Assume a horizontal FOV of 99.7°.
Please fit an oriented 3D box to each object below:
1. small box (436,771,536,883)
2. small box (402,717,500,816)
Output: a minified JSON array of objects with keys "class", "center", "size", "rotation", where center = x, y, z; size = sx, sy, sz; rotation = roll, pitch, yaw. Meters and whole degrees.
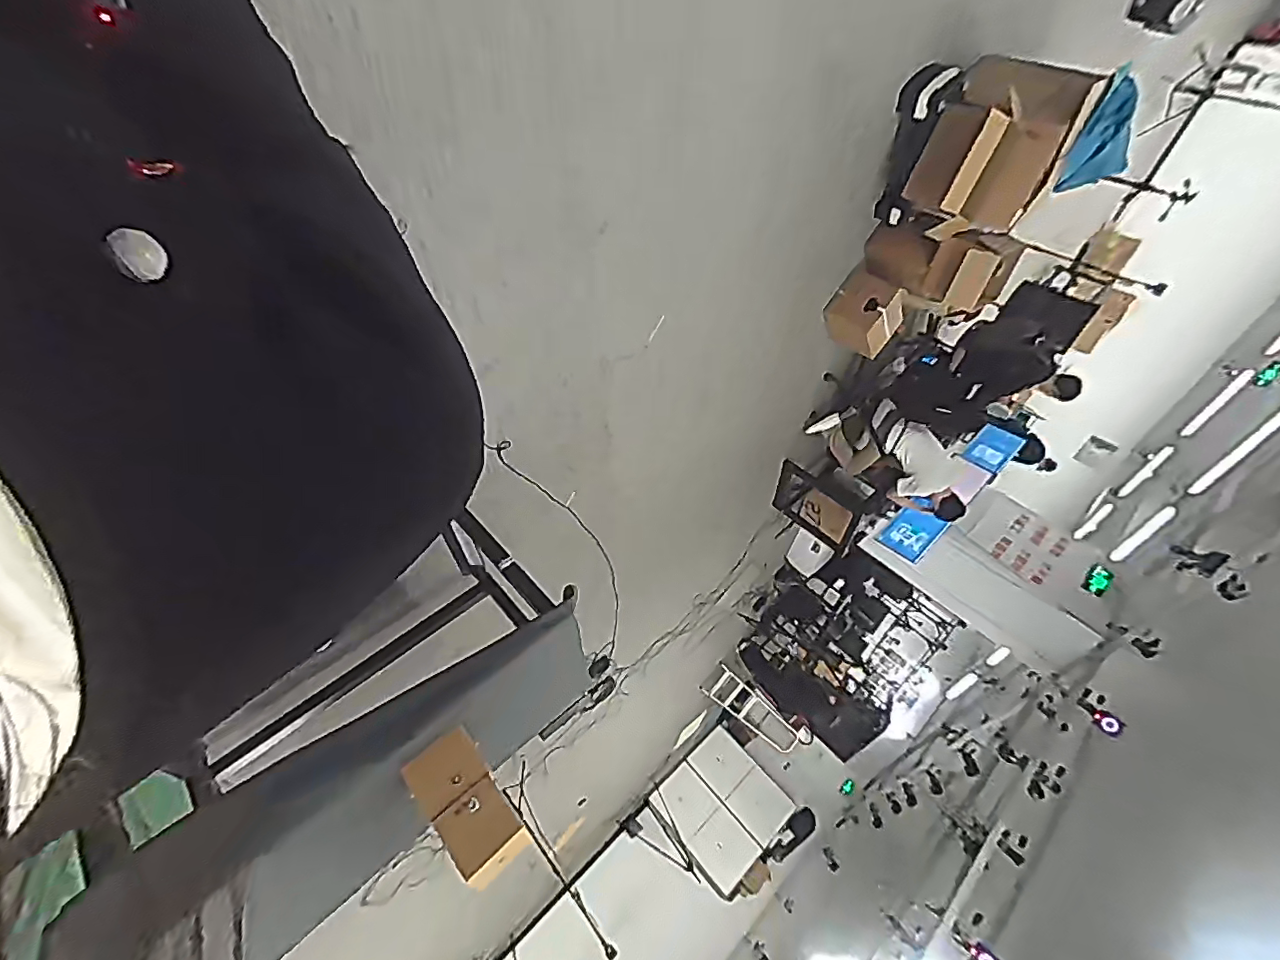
[{"class":"small box","center":[-0.392,0.885,1.388],"size":[0.168,0.176,0.179],"rotation":[-37,147,-27]},{"class":"small box","center":[-0.513,0.786,1.474],"size":[0.179,0.176,0.168],"rotation":[-34,147,-27]}]
